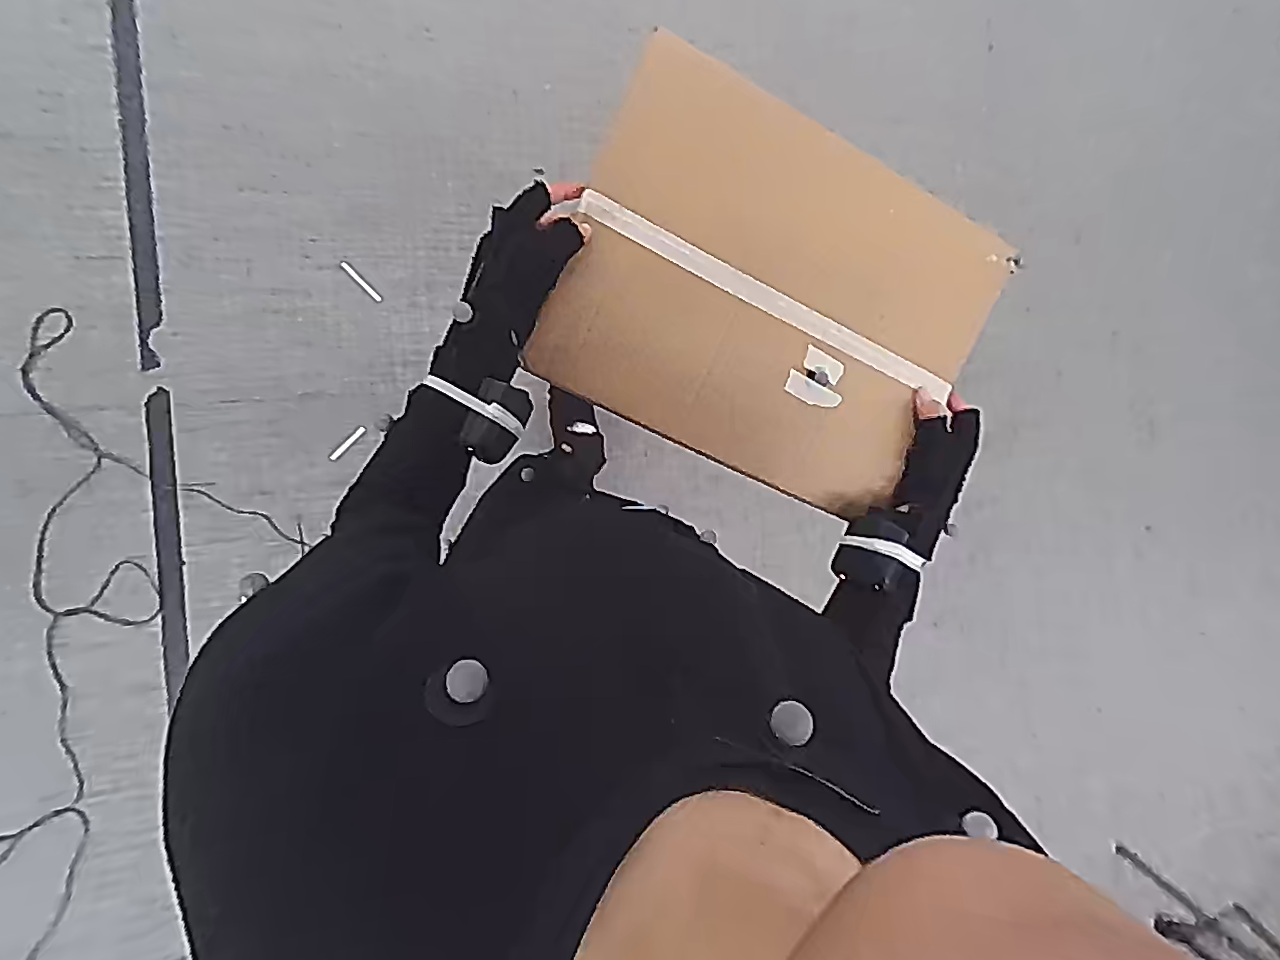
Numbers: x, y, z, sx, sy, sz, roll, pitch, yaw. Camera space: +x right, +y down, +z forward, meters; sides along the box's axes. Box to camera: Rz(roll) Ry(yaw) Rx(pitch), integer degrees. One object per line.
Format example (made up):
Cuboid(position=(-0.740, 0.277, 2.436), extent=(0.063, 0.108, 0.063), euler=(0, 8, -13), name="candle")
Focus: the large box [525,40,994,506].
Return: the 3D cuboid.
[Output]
Cuboid(position=(0.105, -0.208, 0.678), extent=(0.408, 0.320, 0.320), euler=(24, 97, -12), name="large box")
